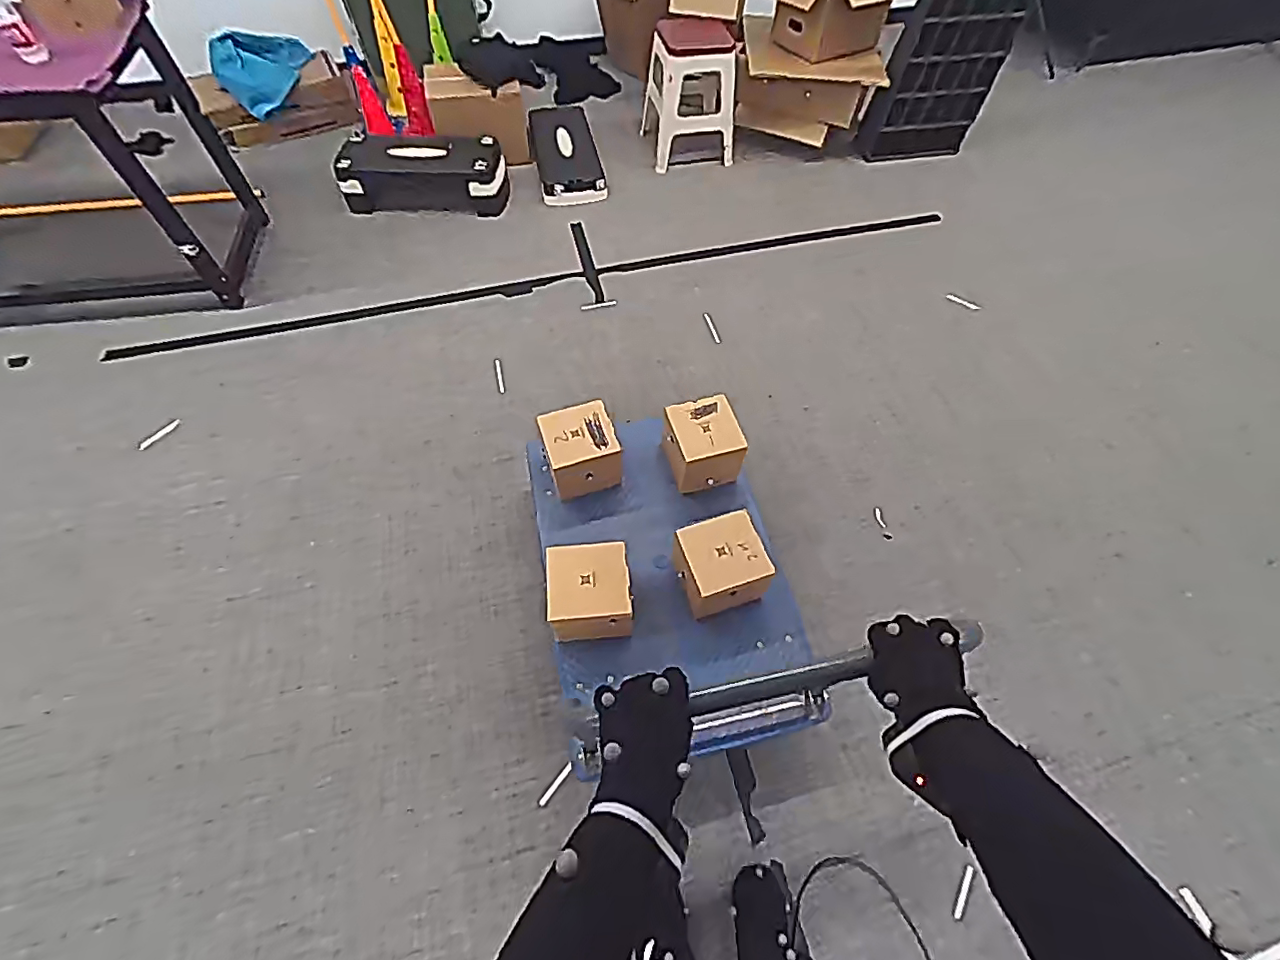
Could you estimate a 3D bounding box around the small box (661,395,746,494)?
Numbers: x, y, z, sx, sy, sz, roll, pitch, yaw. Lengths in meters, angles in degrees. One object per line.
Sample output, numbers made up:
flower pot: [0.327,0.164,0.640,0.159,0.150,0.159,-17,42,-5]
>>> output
small box: [0.157,-0.090,1.416,0.168,0.176,0.179,-14,62,-9]

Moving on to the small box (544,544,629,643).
small box: [-0.117,0.257,1.208,0.179,0.176,0.168,-4,59,-5]

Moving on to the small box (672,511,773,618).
small box: [0.180,0.200,1.246,0.179,0.176,0.168,-16,61,-10]
